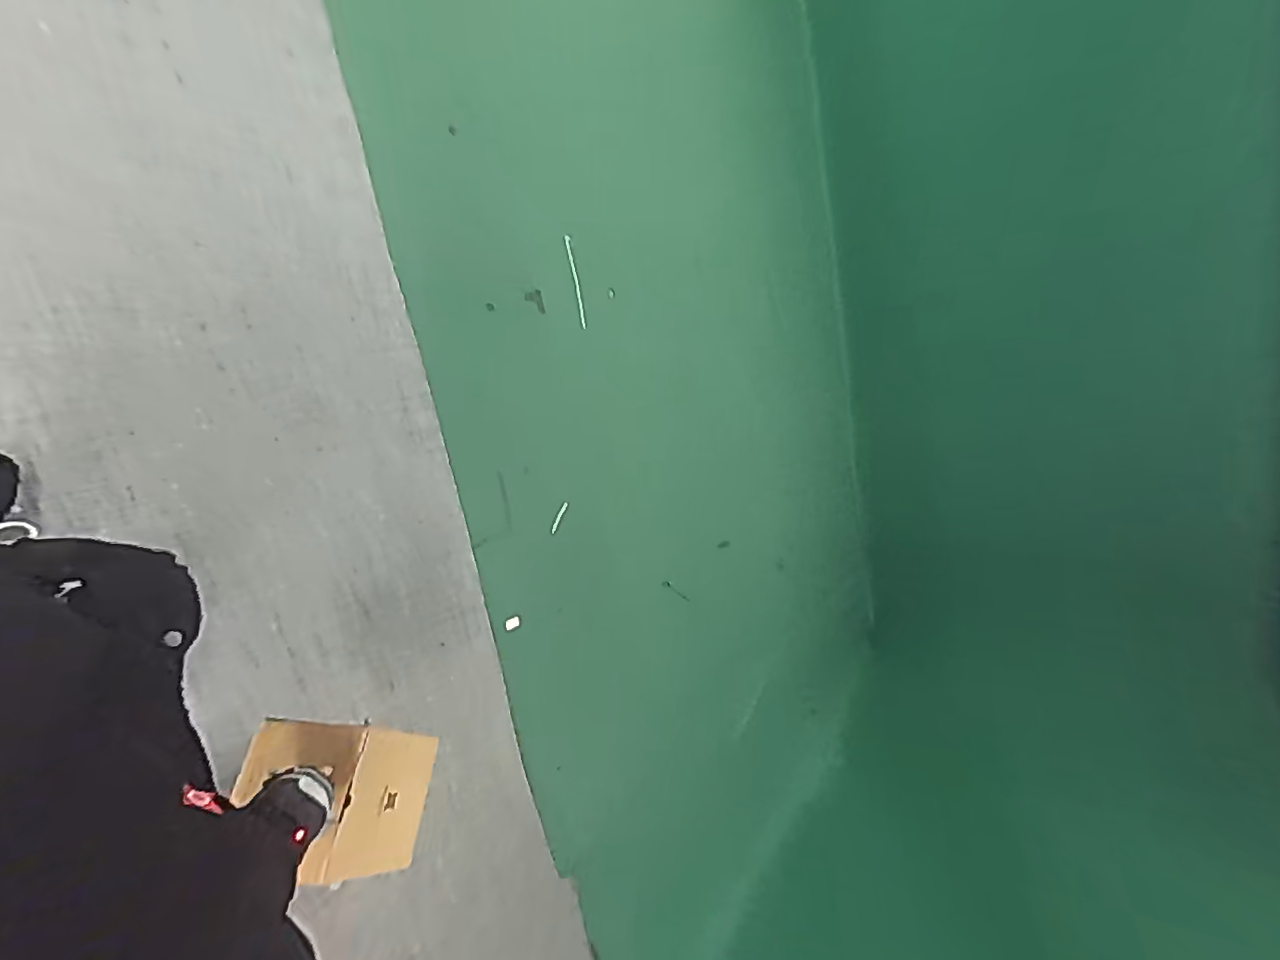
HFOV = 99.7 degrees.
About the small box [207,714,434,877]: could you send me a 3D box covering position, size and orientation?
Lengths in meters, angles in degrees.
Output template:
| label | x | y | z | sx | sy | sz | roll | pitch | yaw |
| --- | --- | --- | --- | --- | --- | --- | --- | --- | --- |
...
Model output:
| label | x | y | z | sx | sy | sz | roll | pitch | yaw |
| --- | --- | --- | --- | --- | --- | --- | --- | --- | --- |
| small box | -0.418 | 0.418 | 0.734 | 0.179 | 0.176 | 0.168 | 66 | 25 | -59 |
